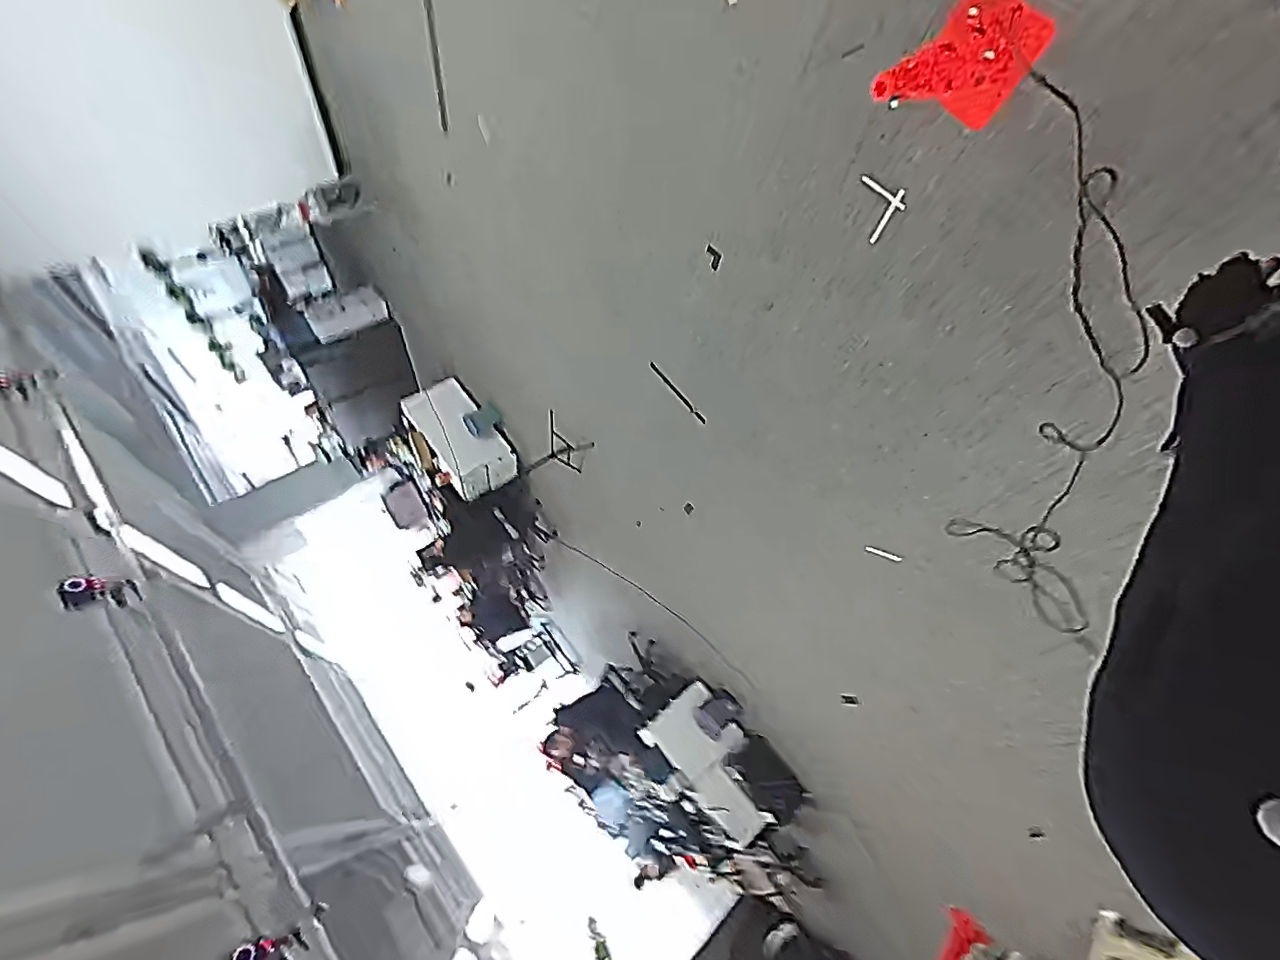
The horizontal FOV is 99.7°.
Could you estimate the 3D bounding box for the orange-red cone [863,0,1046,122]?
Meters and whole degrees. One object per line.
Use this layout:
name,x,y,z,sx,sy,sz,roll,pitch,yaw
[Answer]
orange-red cone,0.545,-0.784,1.024,0.198,0.360,0.199,52,156,12
